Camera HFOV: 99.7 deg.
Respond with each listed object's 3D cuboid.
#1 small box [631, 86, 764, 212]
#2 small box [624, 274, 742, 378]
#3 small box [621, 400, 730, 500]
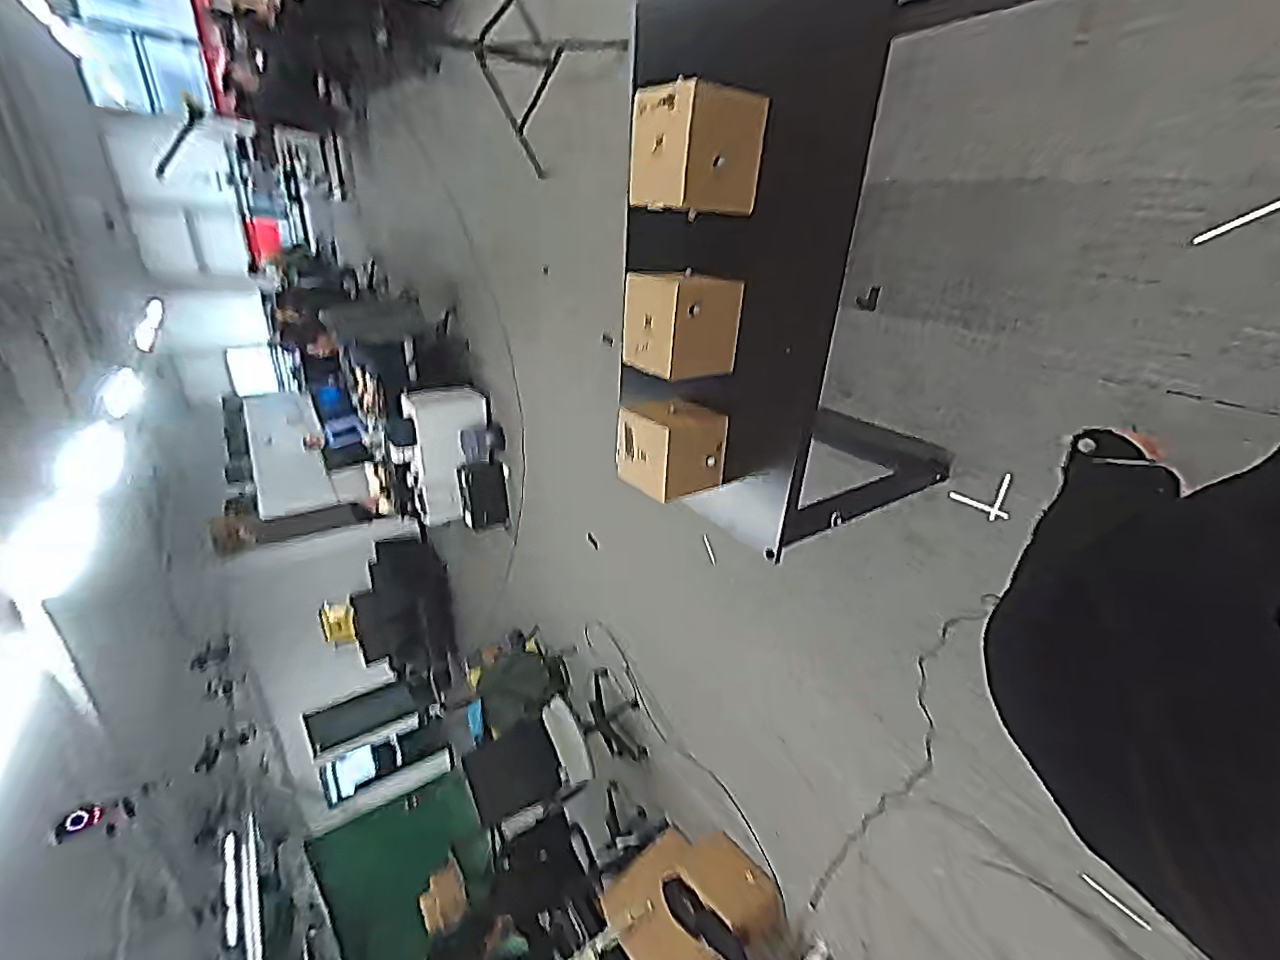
[{"bbox_3d":[0.100,-0.582,0.968,0.168,0.176,0.179,35,131,46],"label":"small box"},{"bbox_3d":[0.086,-0.317,1.093,0.168,0.176,0.179,33,129,47],"label":"small box"},{"bbox_3d":[0.075,-0.076,1.207,0.179,0.176,0.168,30,127,47],"label":"small box"}]
